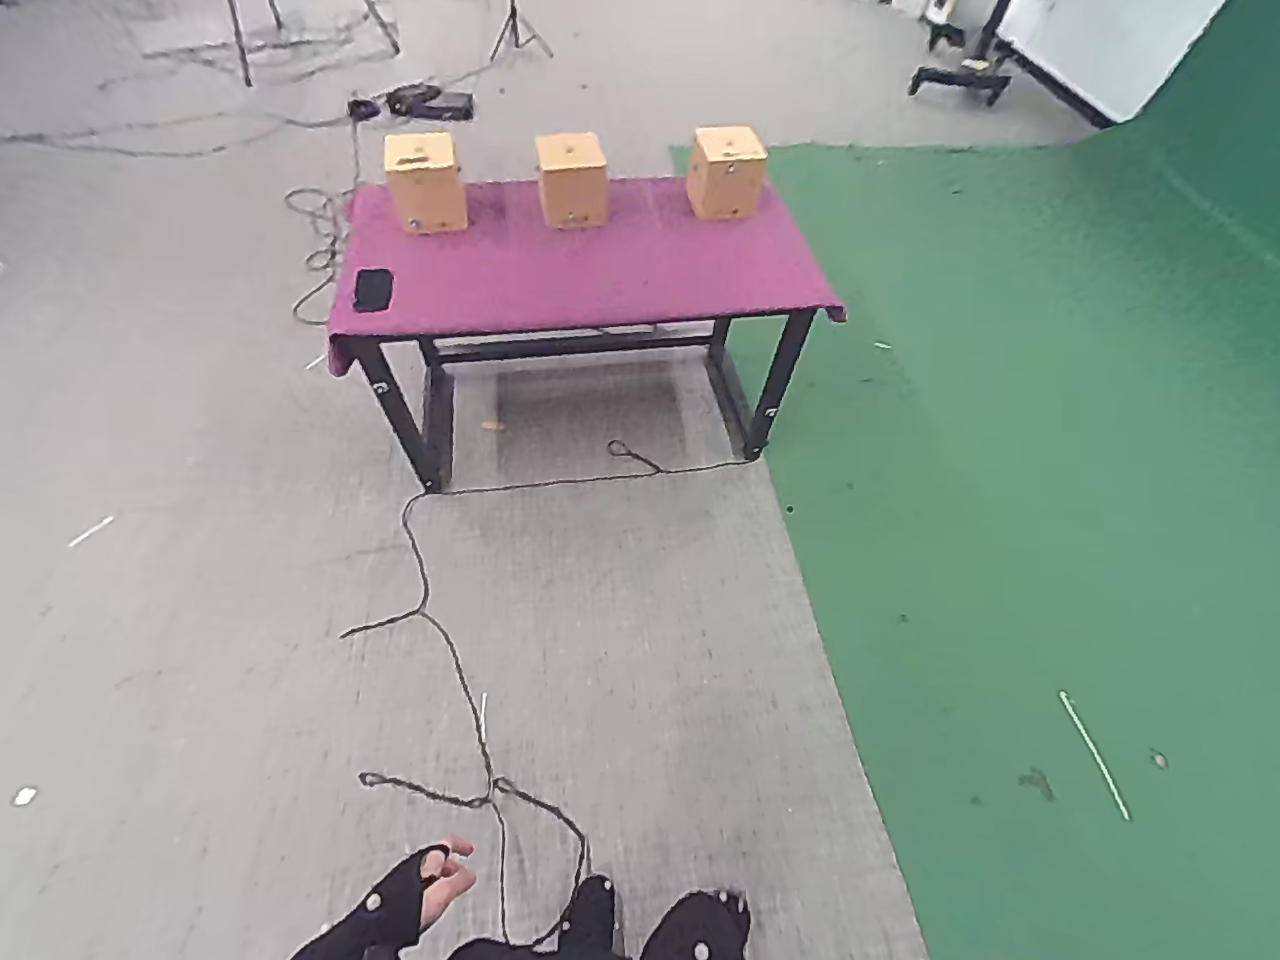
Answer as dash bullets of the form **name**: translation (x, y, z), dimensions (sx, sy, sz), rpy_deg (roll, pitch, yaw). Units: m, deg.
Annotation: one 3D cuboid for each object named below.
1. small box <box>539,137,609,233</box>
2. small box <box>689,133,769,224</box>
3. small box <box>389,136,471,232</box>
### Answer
- **small box**: translation (-0.179, -0.799, 1.466), dimensions (0.168, 0.176, 0.179), rpy_deg (-9, 58, -9)
- **small box**: translation (0.243, -0.851, 1.528), dimensions (0.168, 0.176, 0.179), rpy_deg (-8, 57, -8)
- **small box**: translation (-0.546, -0.770, 1.418), dimensions (0.168, 0.176, 0.179), rpy_deg (-8, 57, -10)
